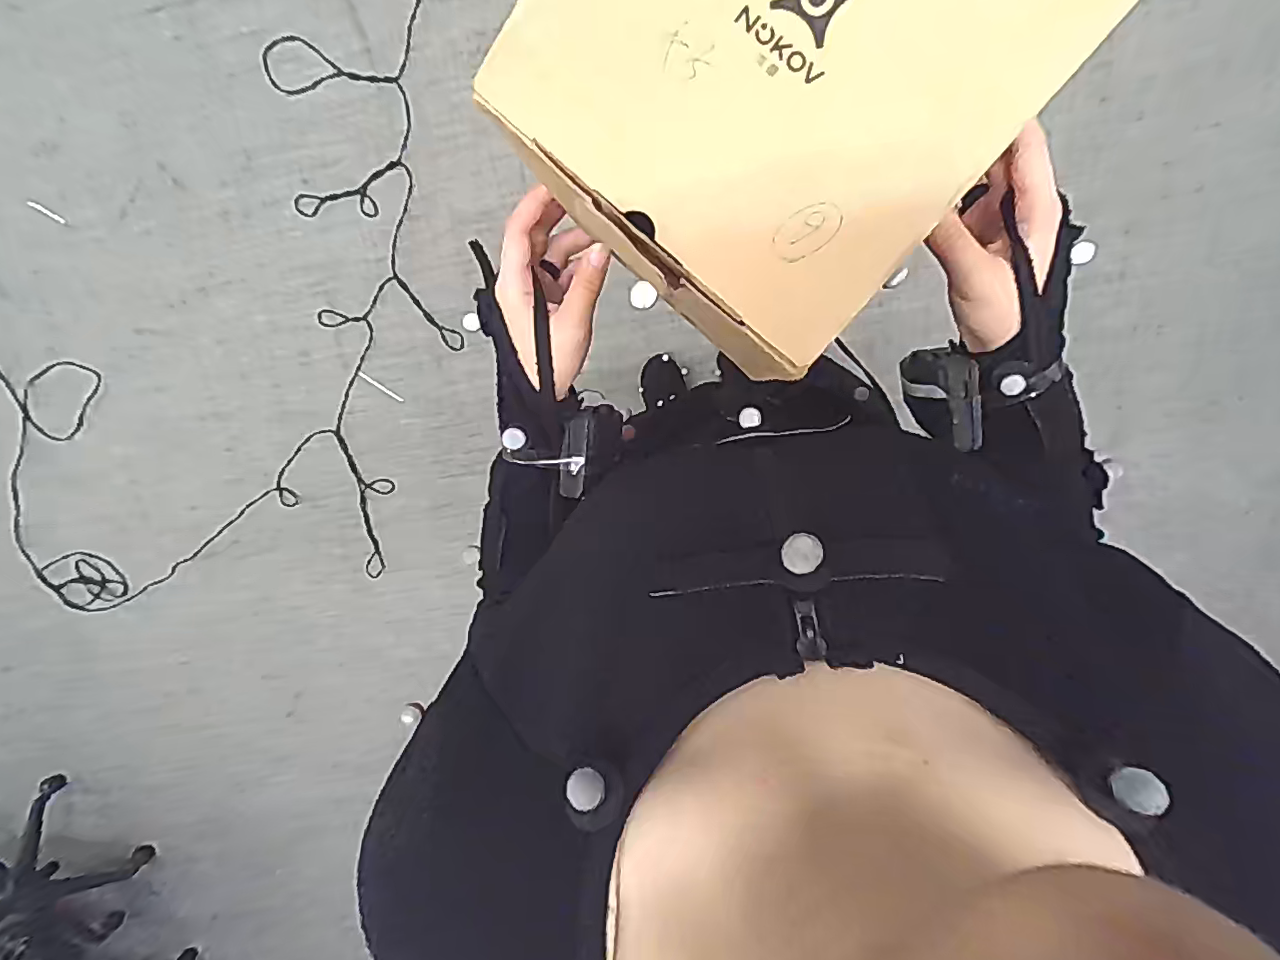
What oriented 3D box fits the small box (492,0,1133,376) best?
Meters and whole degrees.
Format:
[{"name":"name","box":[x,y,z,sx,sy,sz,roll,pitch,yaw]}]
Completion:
[{"name":"small box","box":[0.065,-0.170,0.277,0.168,0.176,0.179,40,102,-2]}]
